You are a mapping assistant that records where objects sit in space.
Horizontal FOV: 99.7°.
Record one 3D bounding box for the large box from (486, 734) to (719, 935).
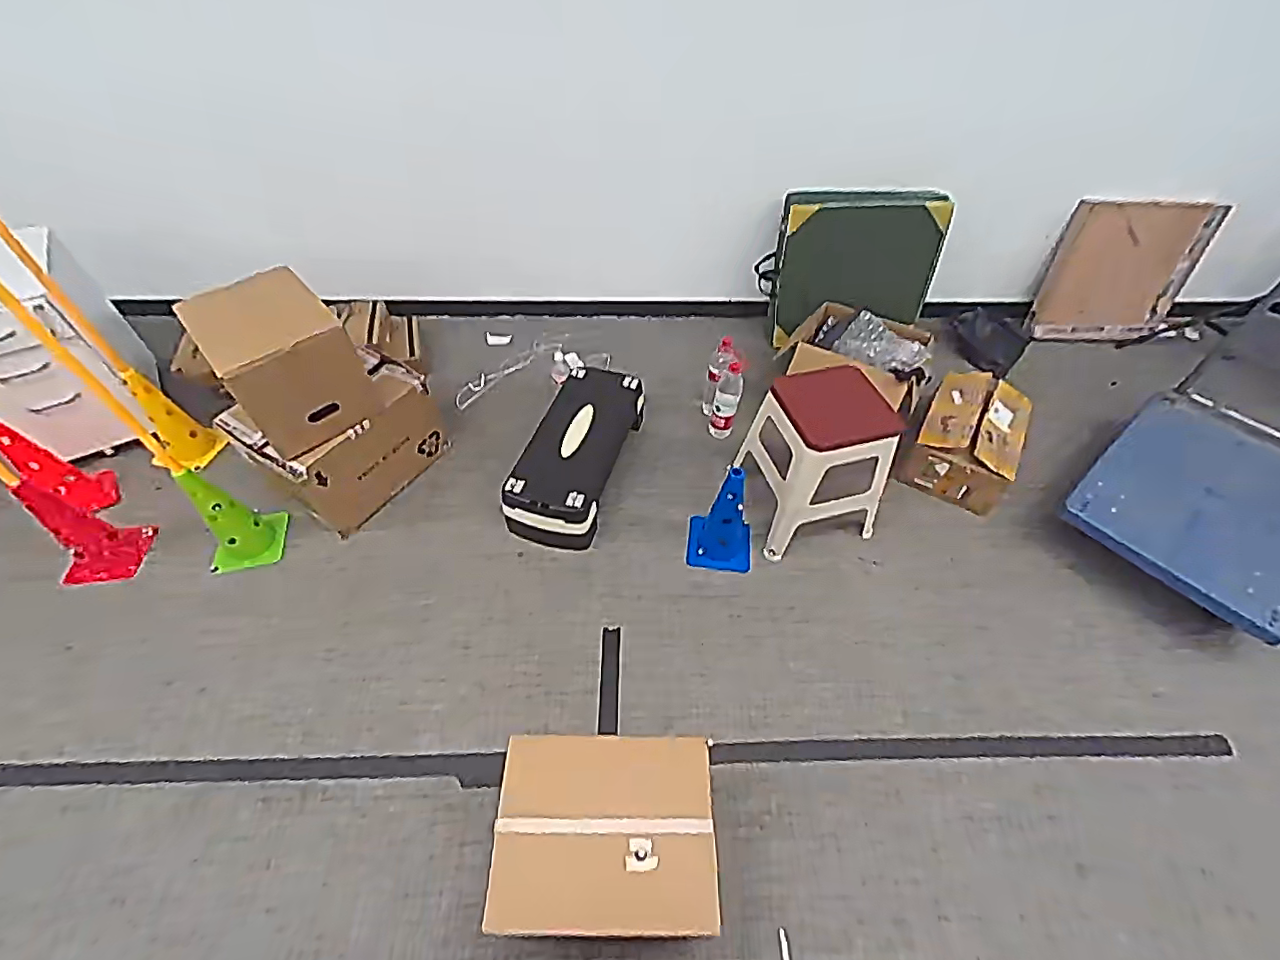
[{"bbox_3d":[-0.071,0.736,1.119,0.408,0.320,0.320,2,51,-2],"label":"large box"}]
